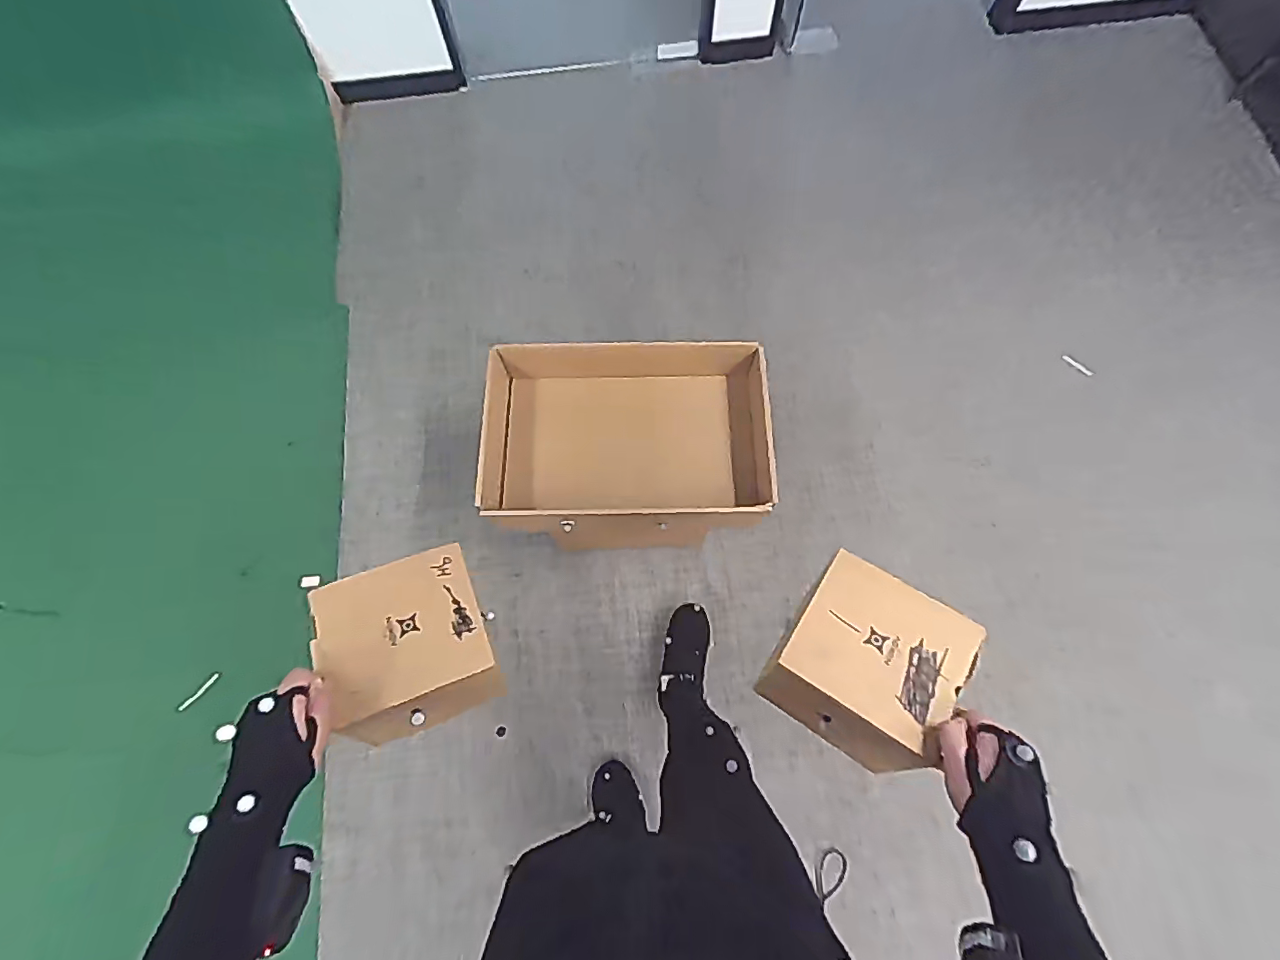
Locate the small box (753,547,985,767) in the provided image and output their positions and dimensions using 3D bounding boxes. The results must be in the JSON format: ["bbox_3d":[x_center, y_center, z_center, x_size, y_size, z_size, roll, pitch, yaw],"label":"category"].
[{"bbox_3d":[0.258,0.216,0.646,0.179,0.176,0.168,31,64,17],"label":"small box"}]

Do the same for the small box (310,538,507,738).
[{"bbox_3d":[-0.277,0.201,0.673,0.179,0.176,0.168,-17,62,-17],"label":"small box"}]
